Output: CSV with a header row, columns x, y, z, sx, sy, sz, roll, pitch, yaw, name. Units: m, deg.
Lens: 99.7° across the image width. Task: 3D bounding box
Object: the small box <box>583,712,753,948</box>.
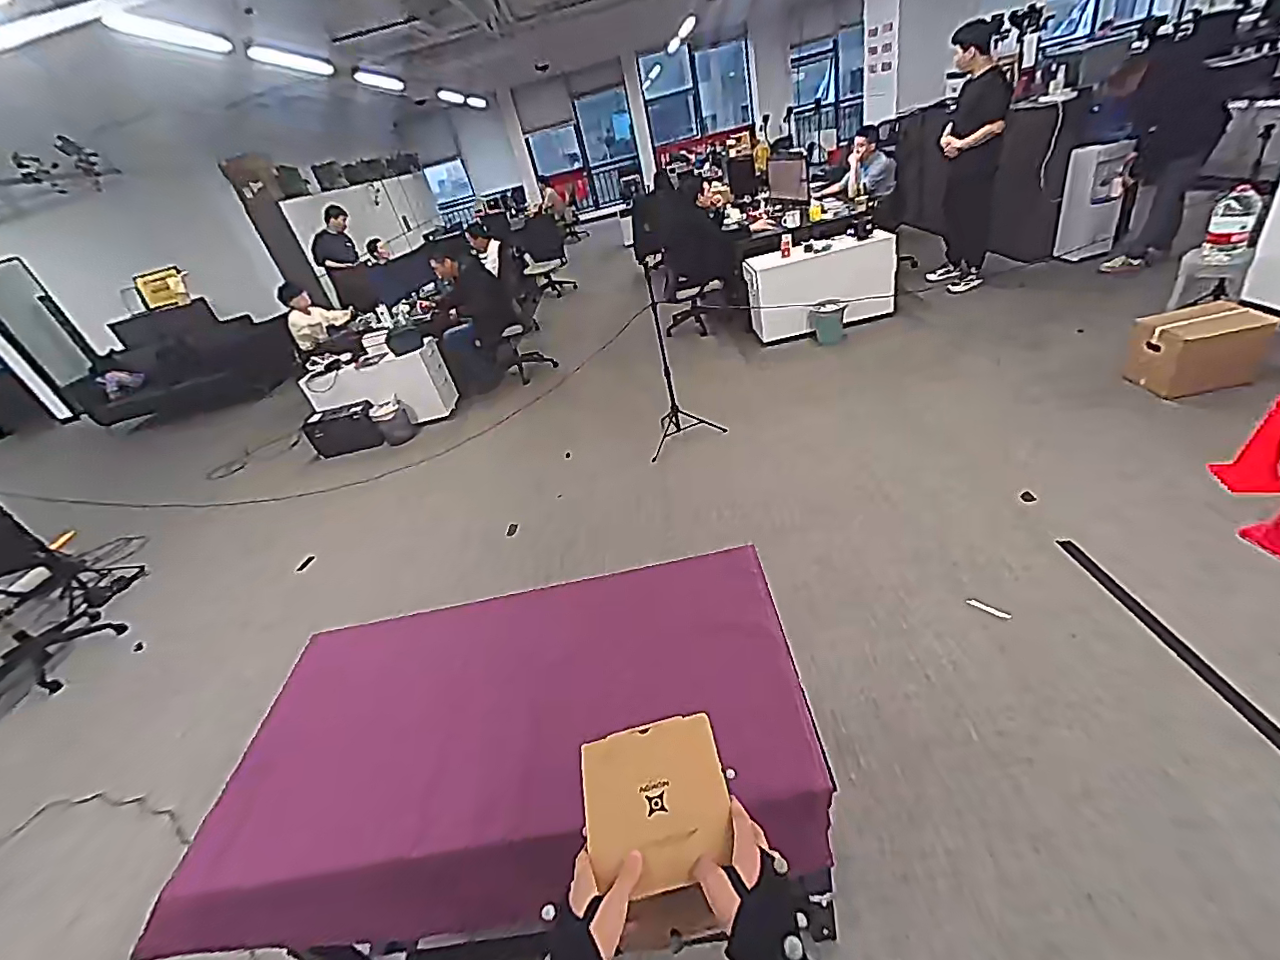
x,y,z,sx,sy,sz,roll,pitch,yaw,name
0.032,0.423,0.661,0.168,0.176,0.179,-14,35,0,small box
